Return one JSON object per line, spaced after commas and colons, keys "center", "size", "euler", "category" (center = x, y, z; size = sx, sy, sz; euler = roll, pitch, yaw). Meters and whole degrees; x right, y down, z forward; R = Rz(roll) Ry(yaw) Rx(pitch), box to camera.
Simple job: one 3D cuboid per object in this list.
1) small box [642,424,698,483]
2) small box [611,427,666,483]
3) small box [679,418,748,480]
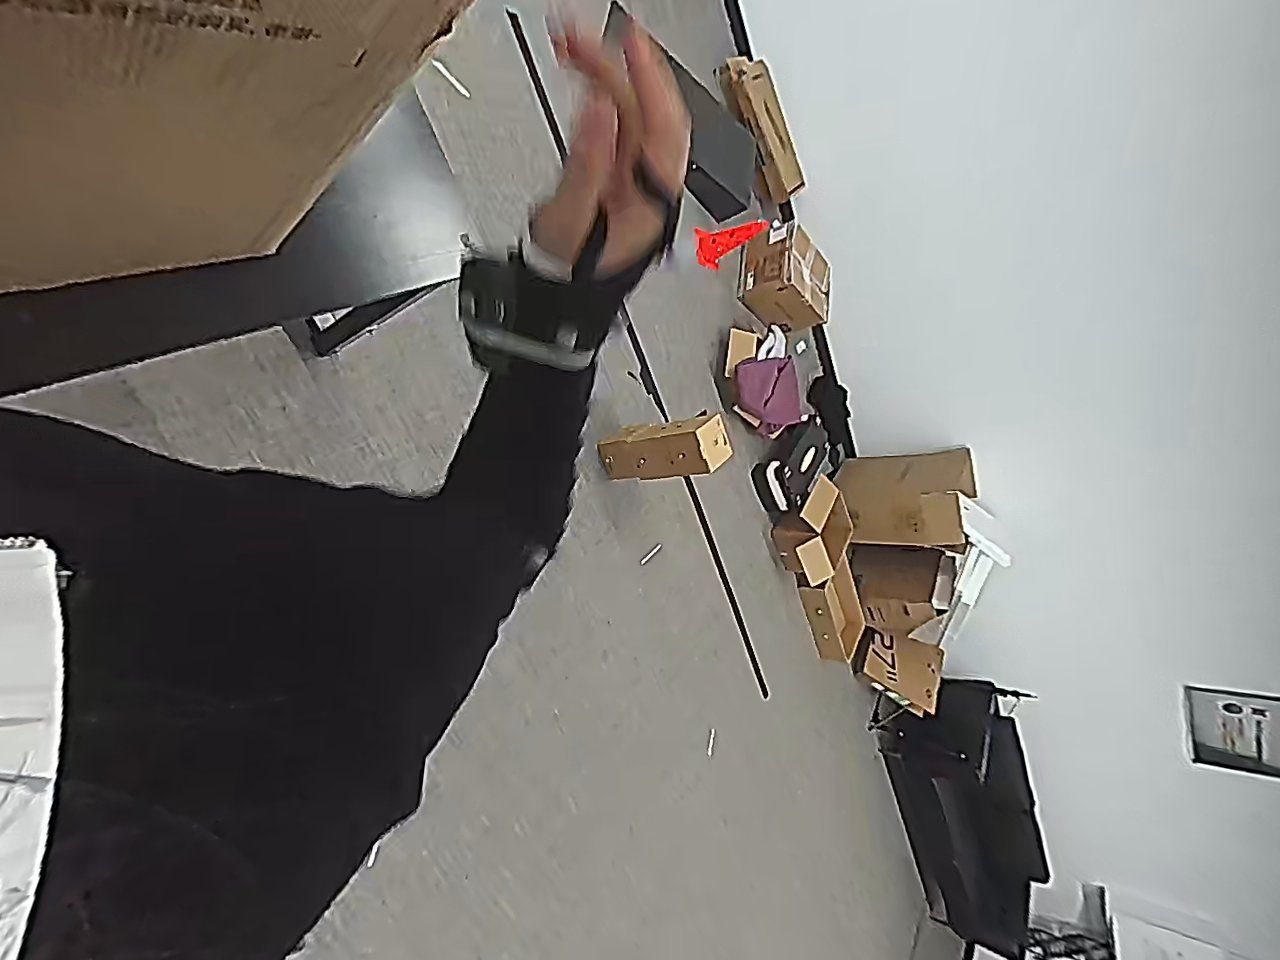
{"center": [0.138, -0.098, 2.064], "size": [0.179, 0.176, 0.168], "euler": [-39, 114, -44], "category": "small box"}
{"center": [0.016, -0.098, 2.176], "size": [0.179, 0.176, 0.168], "euler": [-39, 114, -42], "category": "small box"}
{"center": [0.260, -0.109, 1.955], "size": [0.179, 0.176, 0.168], "euler": [-38, 114, -44], "category": "small box"}
